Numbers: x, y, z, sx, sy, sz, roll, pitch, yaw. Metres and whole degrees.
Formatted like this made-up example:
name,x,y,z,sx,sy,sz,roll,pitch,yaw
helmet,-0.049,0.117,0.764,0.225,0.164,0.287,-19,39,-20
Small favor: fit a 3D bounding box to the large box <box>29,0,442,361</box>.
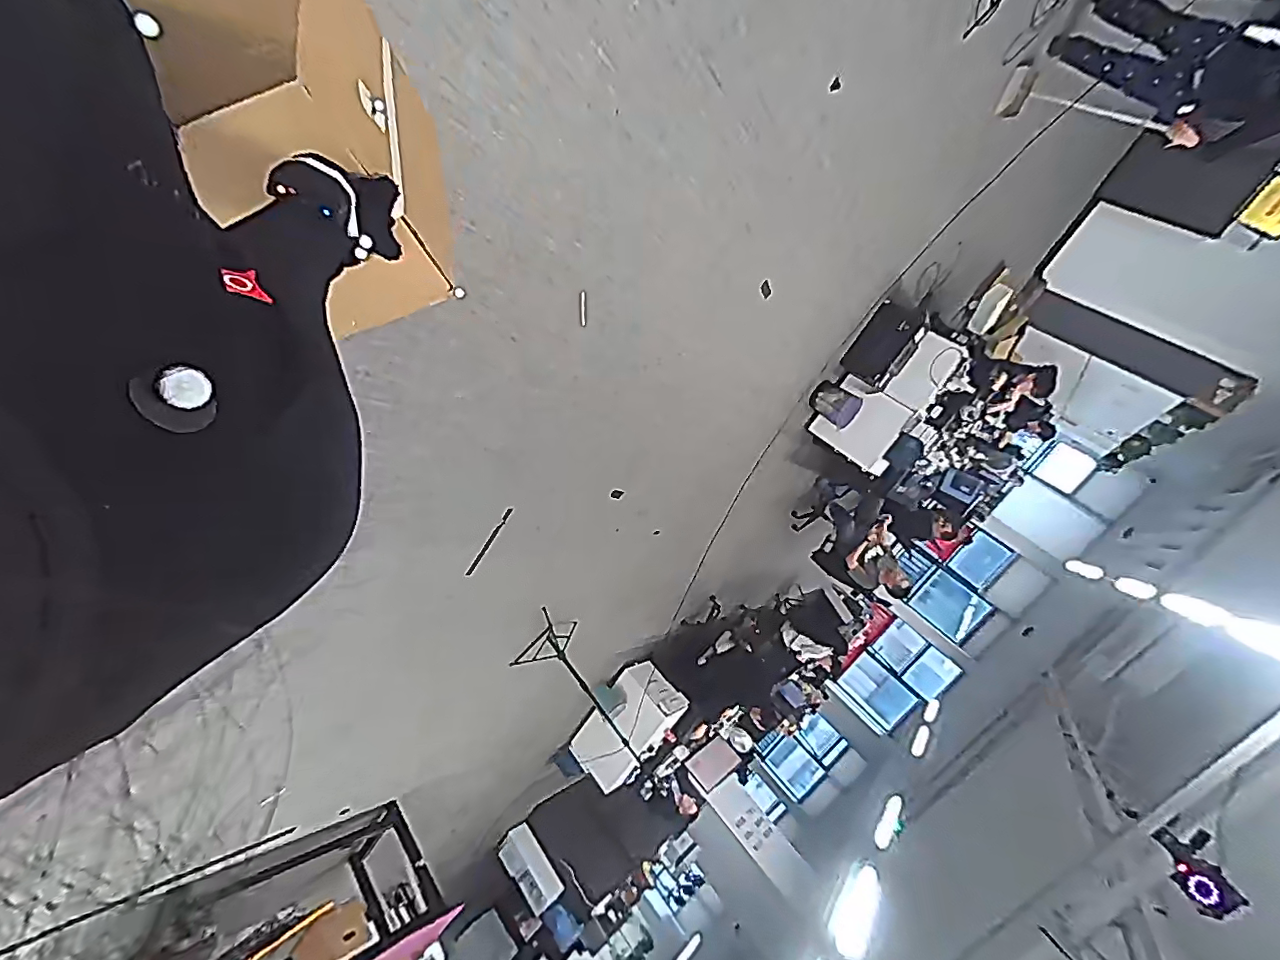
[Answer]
name,x,y,z,sx,sy,sz,roll,pitch,yaw
large box,-0.510,-0.450,0.761,0.320,0.408,0.320,-17,155,6
